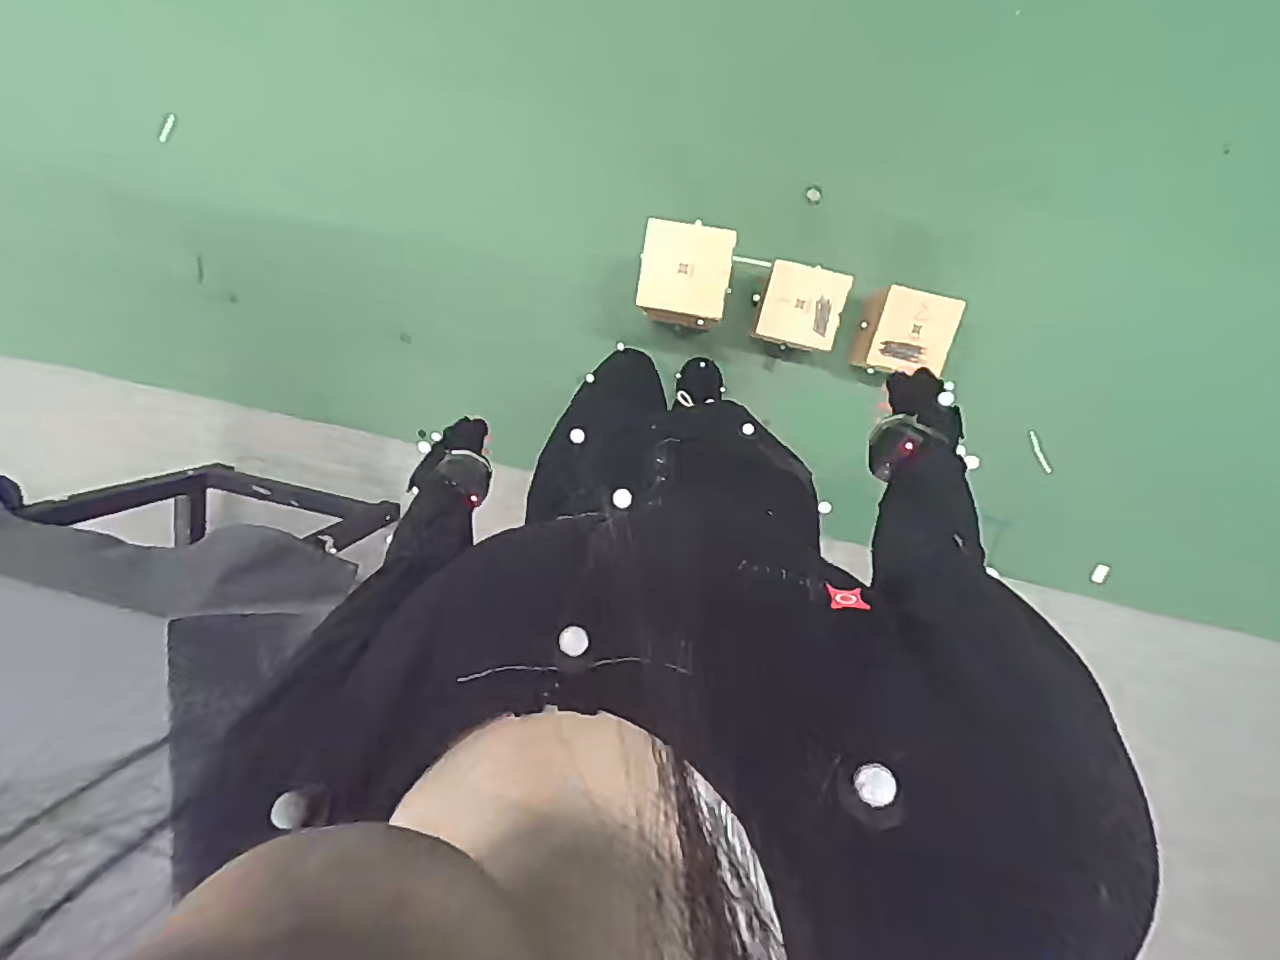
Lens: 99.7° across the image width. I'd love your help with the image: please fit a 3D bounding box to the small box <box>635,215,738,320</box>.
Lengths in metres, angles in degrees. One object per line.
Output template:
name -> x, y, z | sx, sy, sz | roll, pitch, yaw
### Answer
small box -> 0.096, -0.432, 1.125 | 0.179, 0.176, 0.168 | 10, 104, 3
